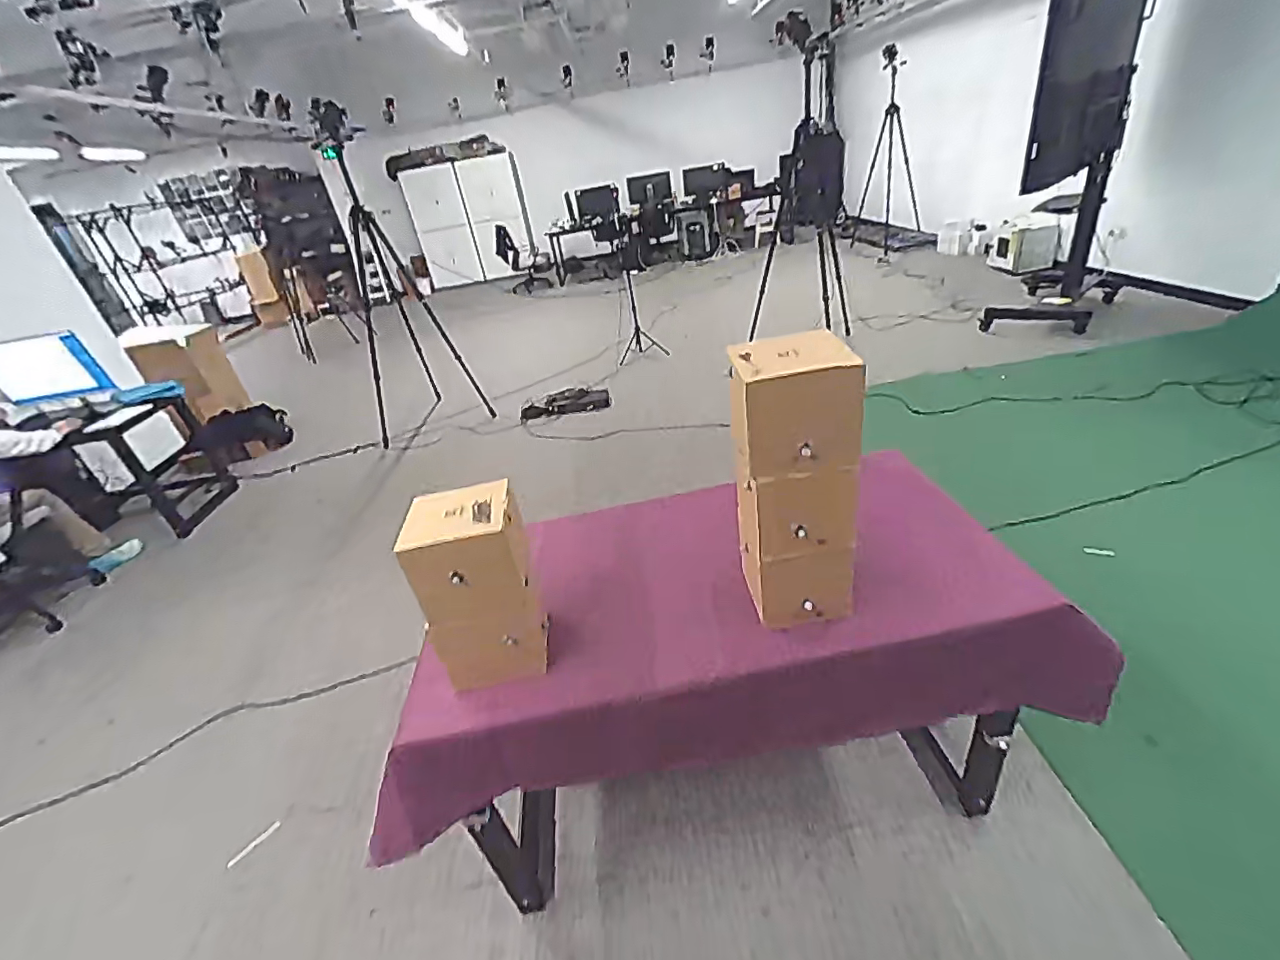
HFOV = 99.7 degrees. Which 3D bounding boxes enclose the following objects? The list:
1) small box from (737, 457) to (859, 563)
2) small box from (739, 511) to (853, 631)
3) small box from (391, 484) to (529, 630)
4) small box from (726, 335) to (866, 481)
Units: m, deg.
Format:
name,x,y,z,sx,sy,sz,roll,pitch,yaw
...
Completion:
name,x,y,z,sx,sy,sz,roll,pitch,yaw
small box,0.267,0.021,0.953,0.168,0.176,0.179,-10,31,1
small box,0.291,0.160,1.035,0.168,0.176,0.179,-11,31,2
small box,-0.299,0.133,0.945,0.179,0.176,0.168,-12,30,-3
small box,0.239,-0.117,0.867,0.179,0.176,0.168,-8,31,3
